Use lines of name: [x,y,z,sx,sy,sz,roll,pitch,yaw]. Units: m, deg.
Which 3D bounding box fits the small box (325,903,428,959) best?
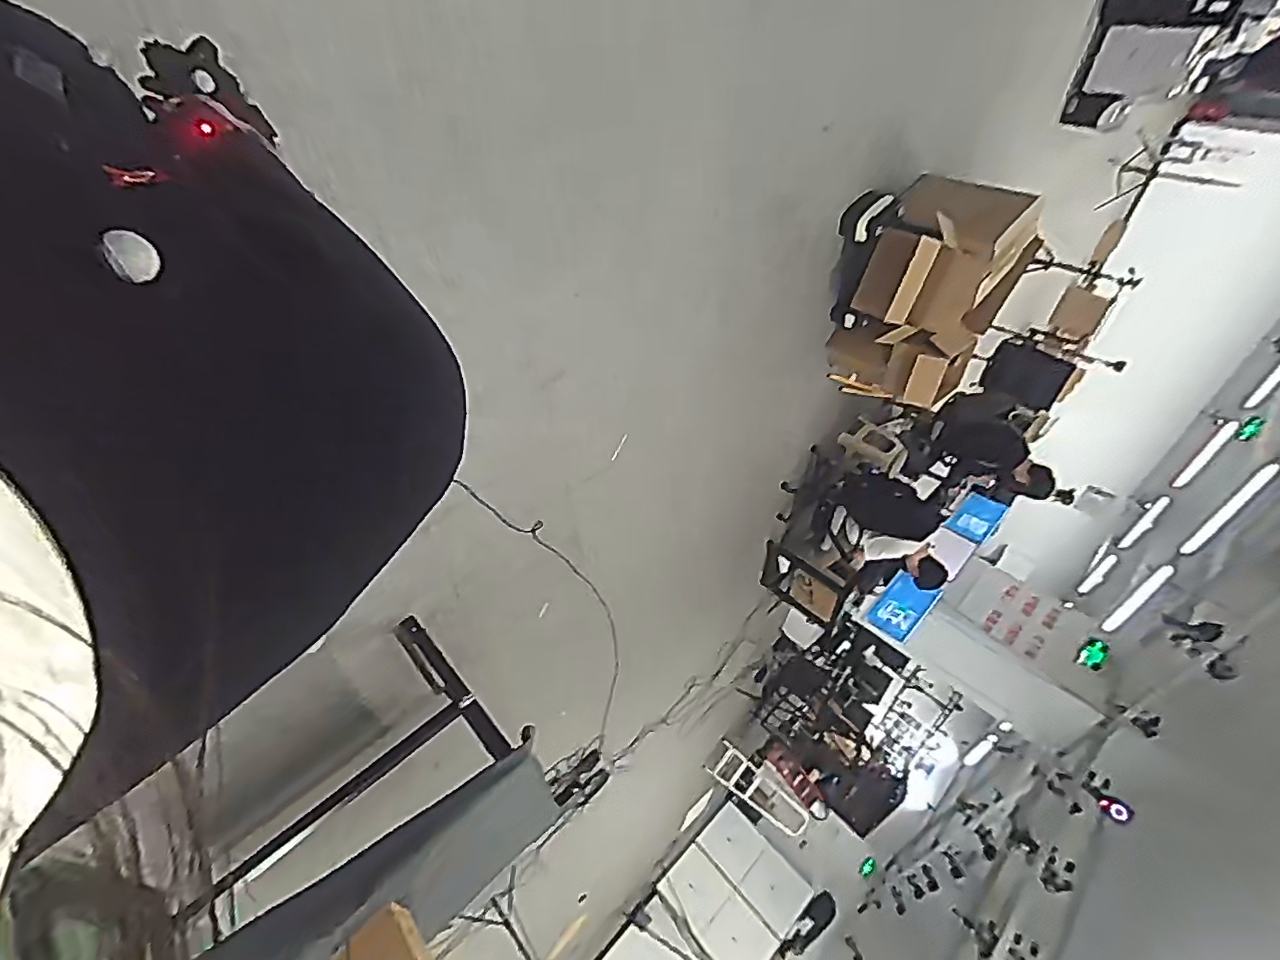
small box: [-0.692,1.272,1.426,0.179,0.176,0.168,-33,141,-29]
